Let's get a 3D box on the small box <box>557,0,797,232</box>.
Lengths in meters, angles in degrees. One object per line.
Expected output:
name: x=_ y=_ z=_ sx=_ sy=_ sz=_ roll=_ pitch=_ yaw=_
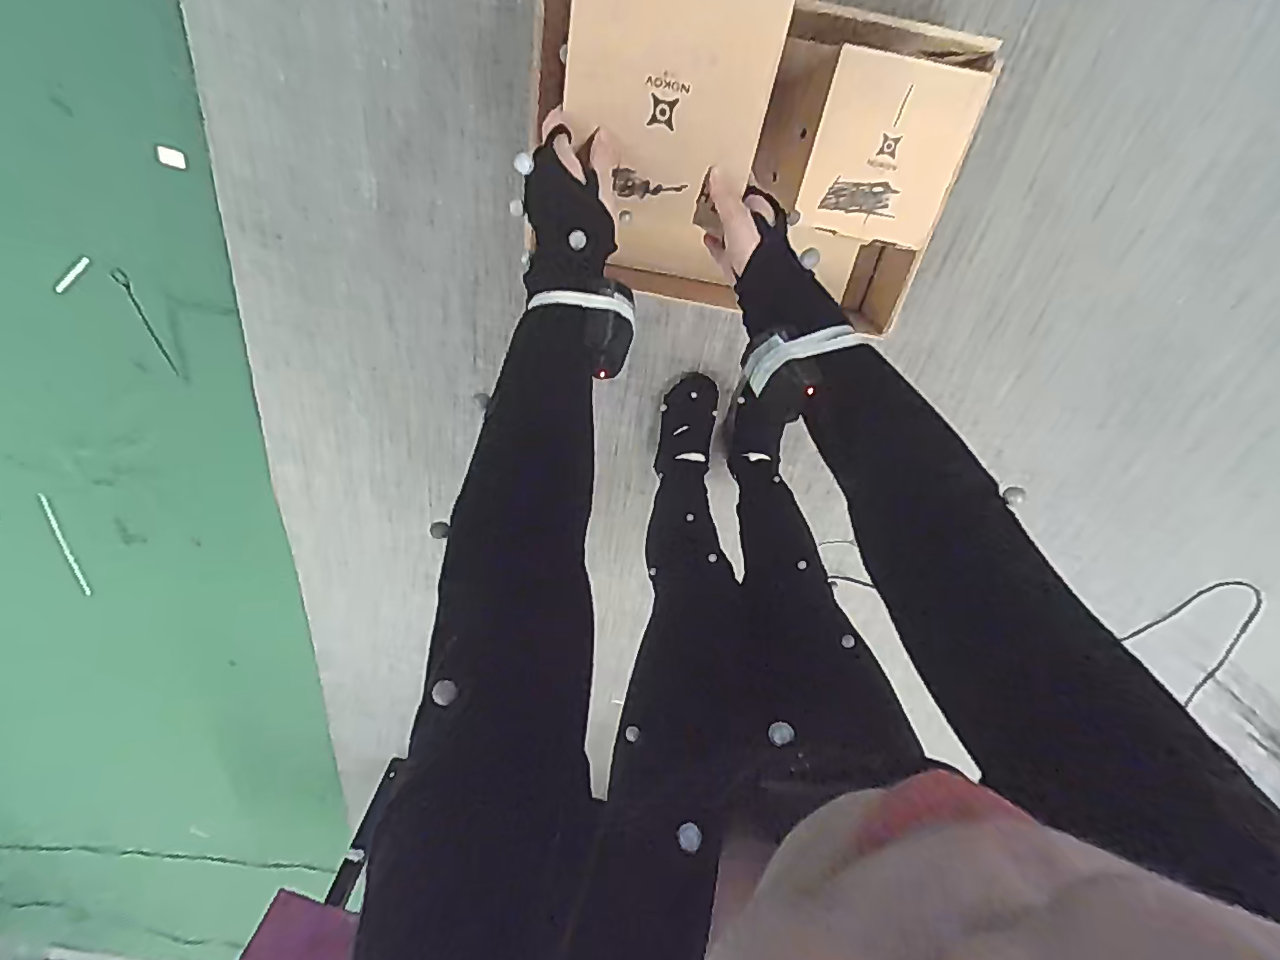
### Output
small box: x=0.022 y=-0.354 z=0.500 sx=0.168 sy=0.176 sz=0.179 roll=9 pitch=126 yaw=-5

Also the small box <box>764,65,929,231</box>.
small box: x=0.292 y=-0.494 z=0.815 sx=0.168 sy=0.176 sz=0.179 roll=10 pitch=122 yaw=-1
